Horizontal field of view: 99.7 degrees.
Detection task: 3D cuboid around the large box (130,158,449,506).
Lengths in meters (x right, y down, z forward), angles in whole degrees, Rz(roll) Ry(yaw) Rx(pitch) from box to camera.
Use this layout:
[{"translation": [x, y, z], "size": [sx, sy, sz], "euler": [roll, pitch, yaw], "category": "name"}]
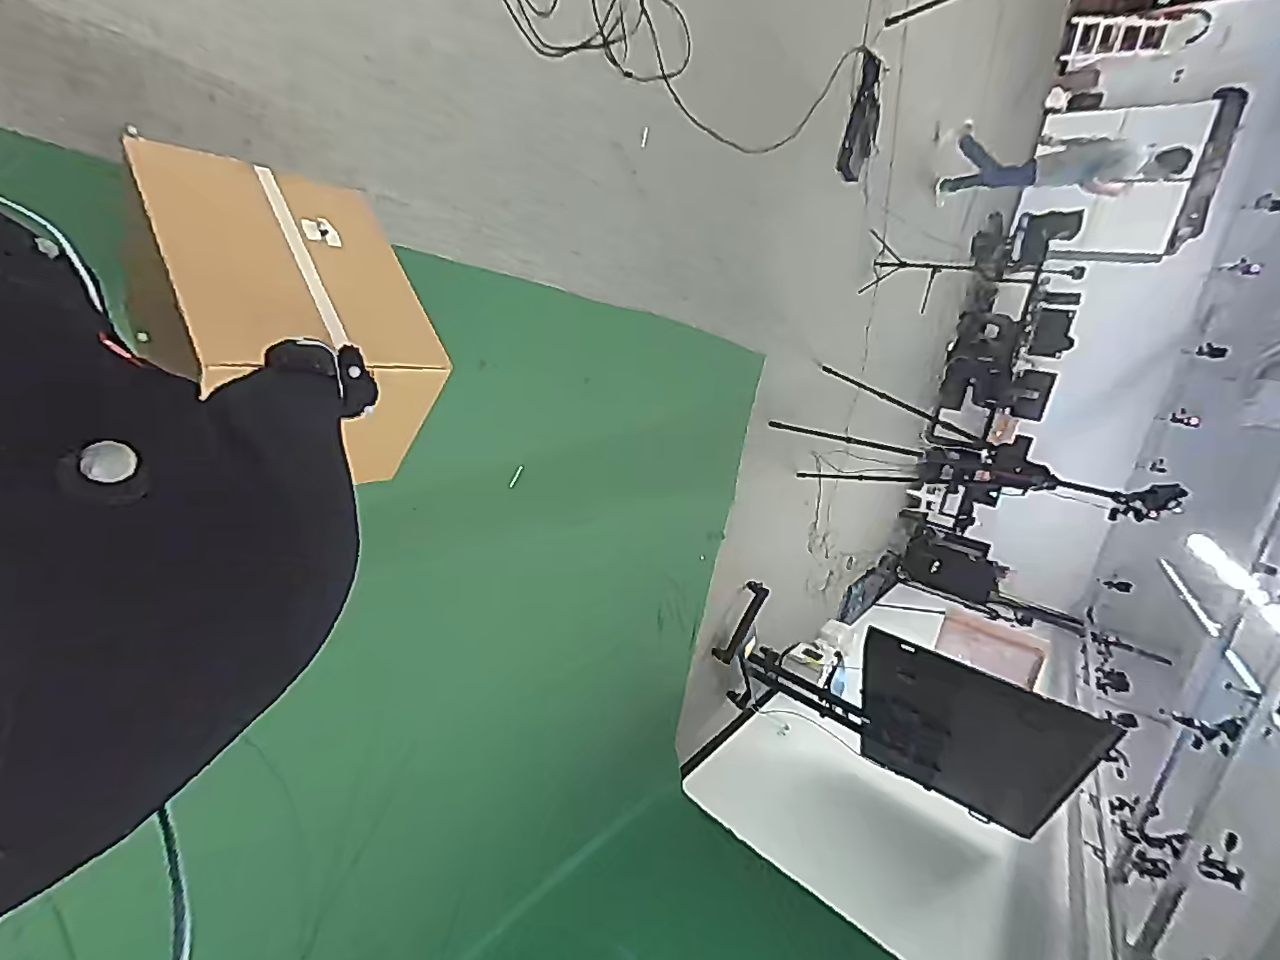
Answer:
[{"translation": [-0.580, -0.223, 0.889], "size": [0.320, 0.408, 0.320], "euler": [-12, 154, -48], "category": "large box"}]
